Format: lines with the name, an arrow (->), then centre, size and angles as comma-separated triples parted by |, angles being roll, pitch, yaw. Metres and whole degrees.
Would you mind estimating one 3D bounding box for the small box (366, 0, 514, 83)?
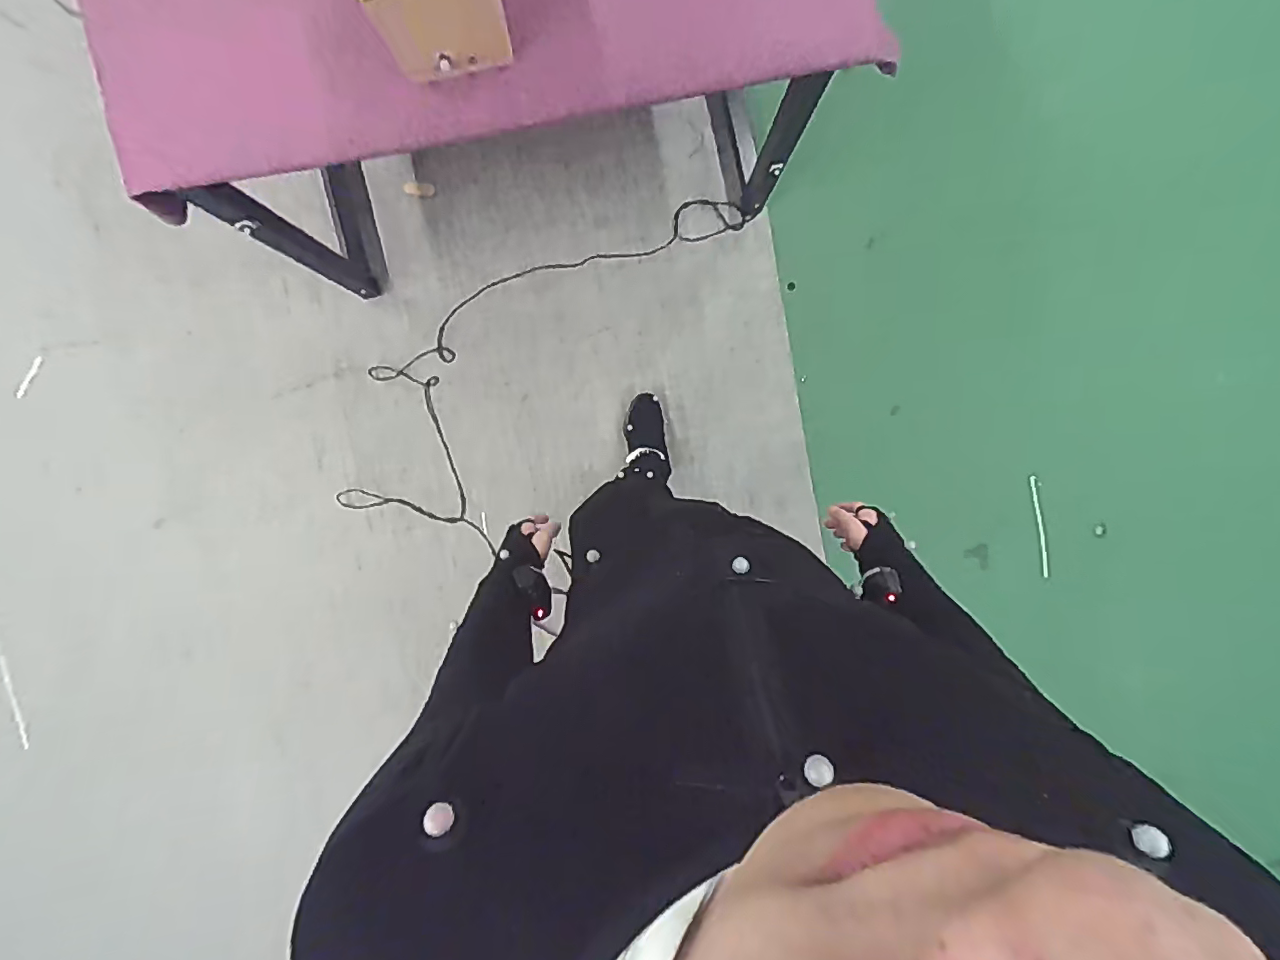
small box -> -0.292, -0.719, 0.768 | 0.168, 0.176, 0.179 | -11, 93, 2
